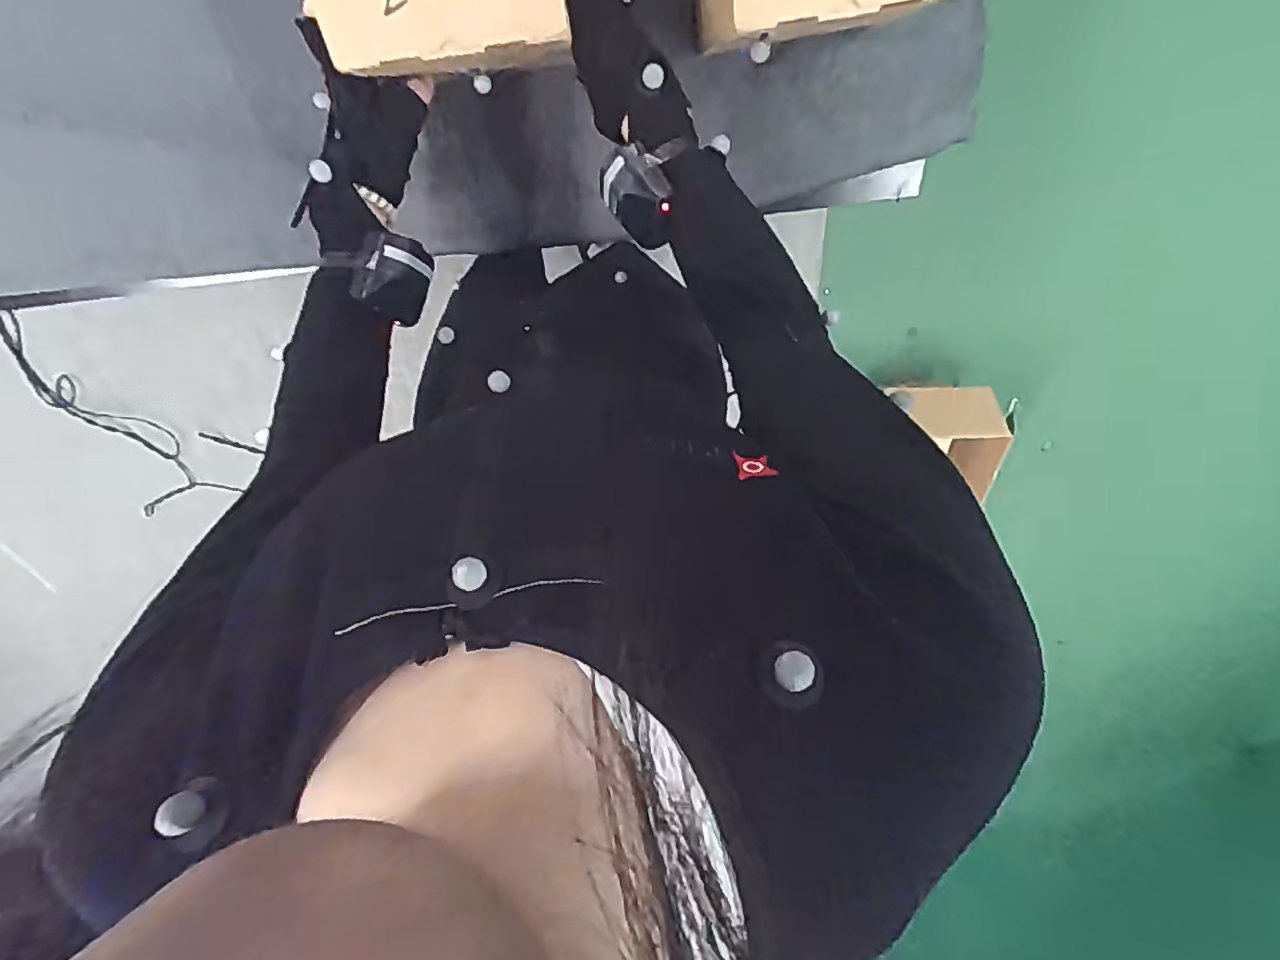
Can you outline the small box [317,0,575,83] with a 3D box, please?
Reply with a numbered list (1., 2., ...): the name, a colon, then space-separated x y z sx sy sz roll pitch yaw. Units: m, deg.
1. small box: -0.142 -0.409 0.392 0.168 0.176 0.179 -8 124 0
